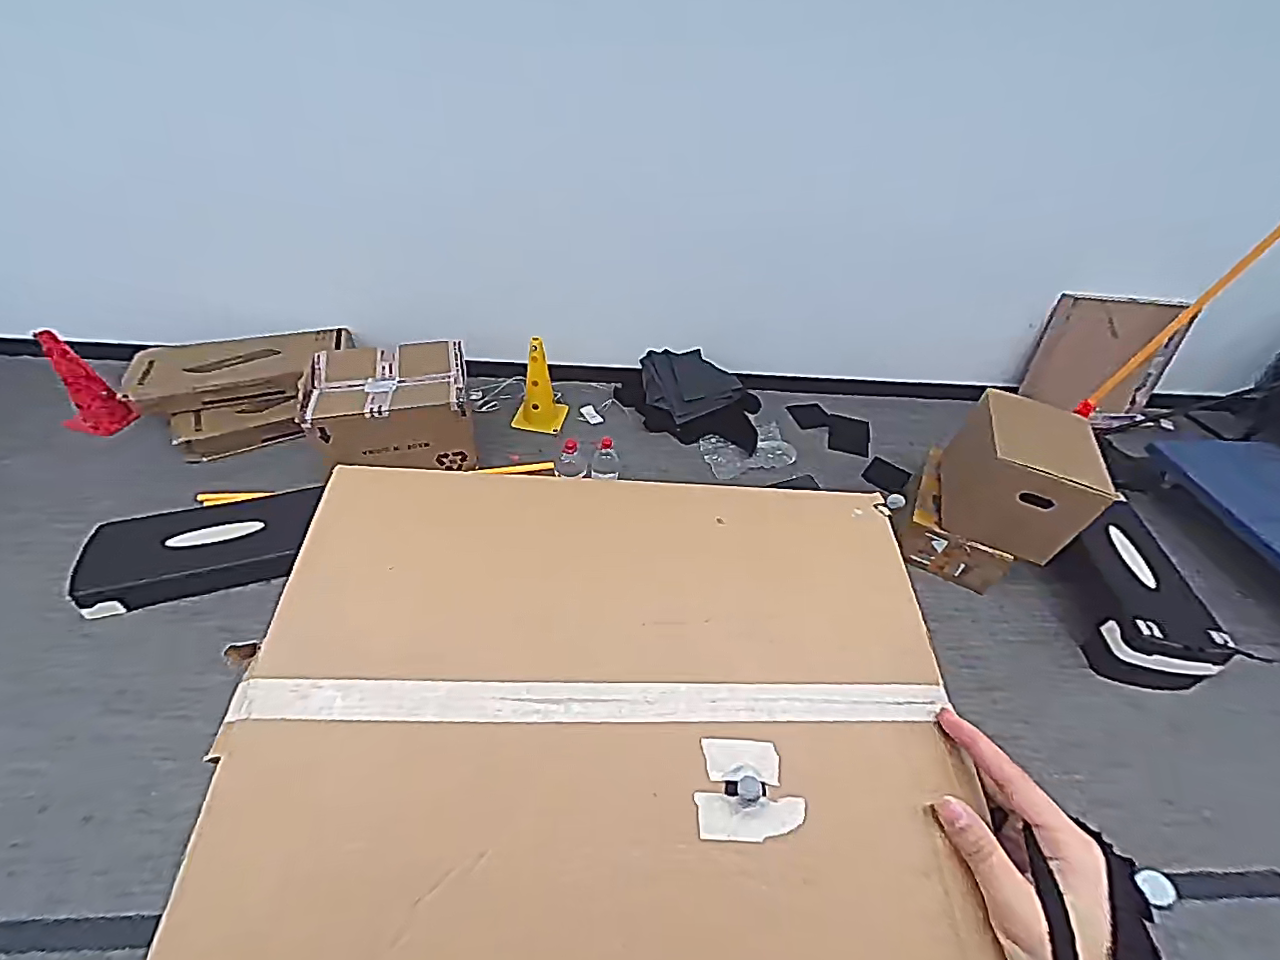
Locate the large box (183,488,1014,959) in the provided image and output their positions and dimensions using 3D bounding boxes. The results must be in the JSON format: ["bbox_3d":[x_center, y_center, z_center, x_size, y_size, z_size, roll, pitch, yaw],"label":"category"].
[{"bbox_3d":[-0.029,0.225,0.441,0.408,0.320,0.320,3,55,-7],"label":"large box"}]
